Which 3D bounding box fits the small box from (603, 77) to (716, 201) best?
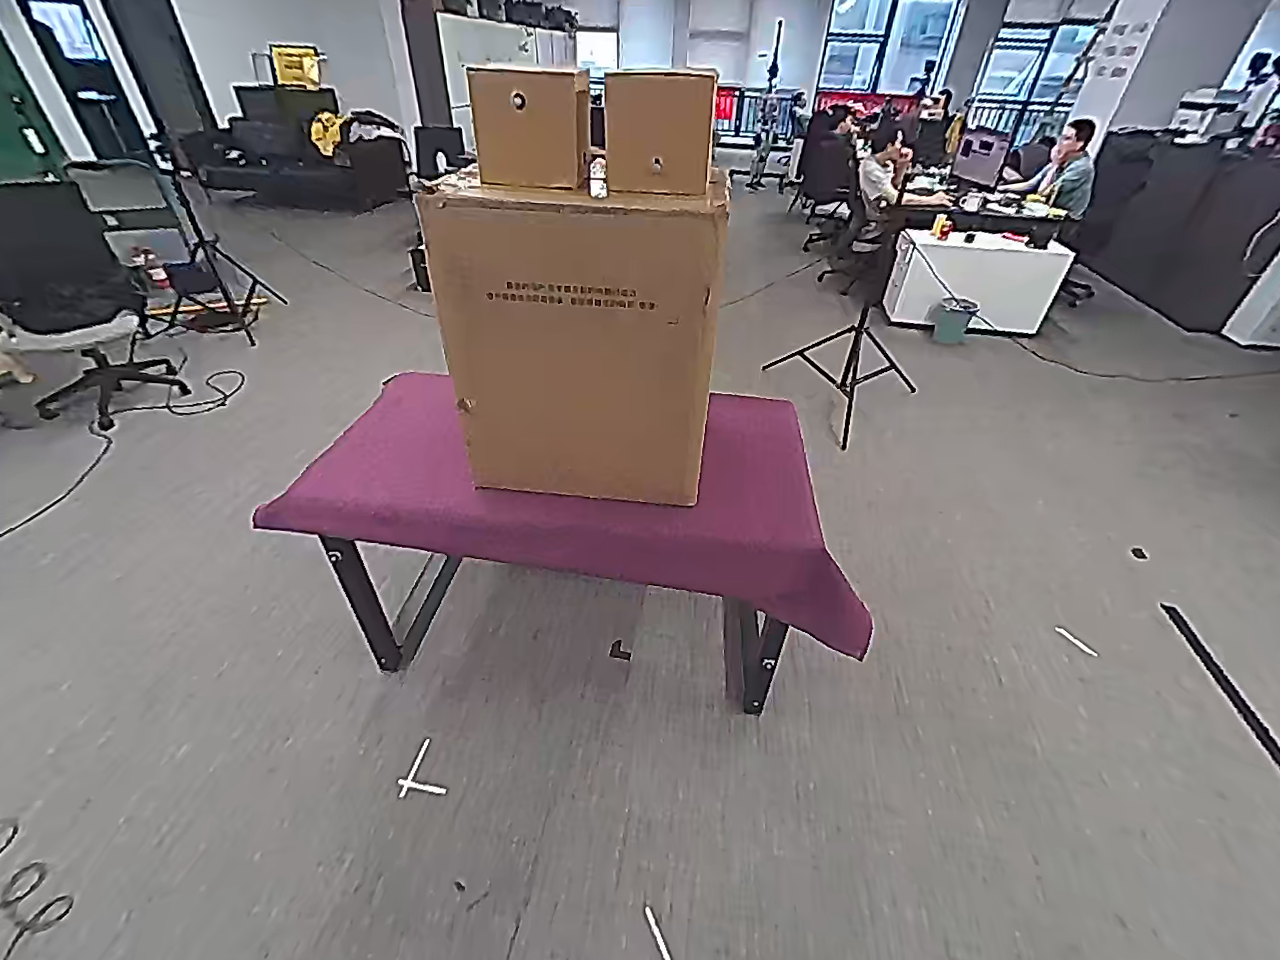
[{"bbox_3d":[0.036,-0.601,0.954,0.179,0.176,0.168,6,38,5],"label":"small box"}]
